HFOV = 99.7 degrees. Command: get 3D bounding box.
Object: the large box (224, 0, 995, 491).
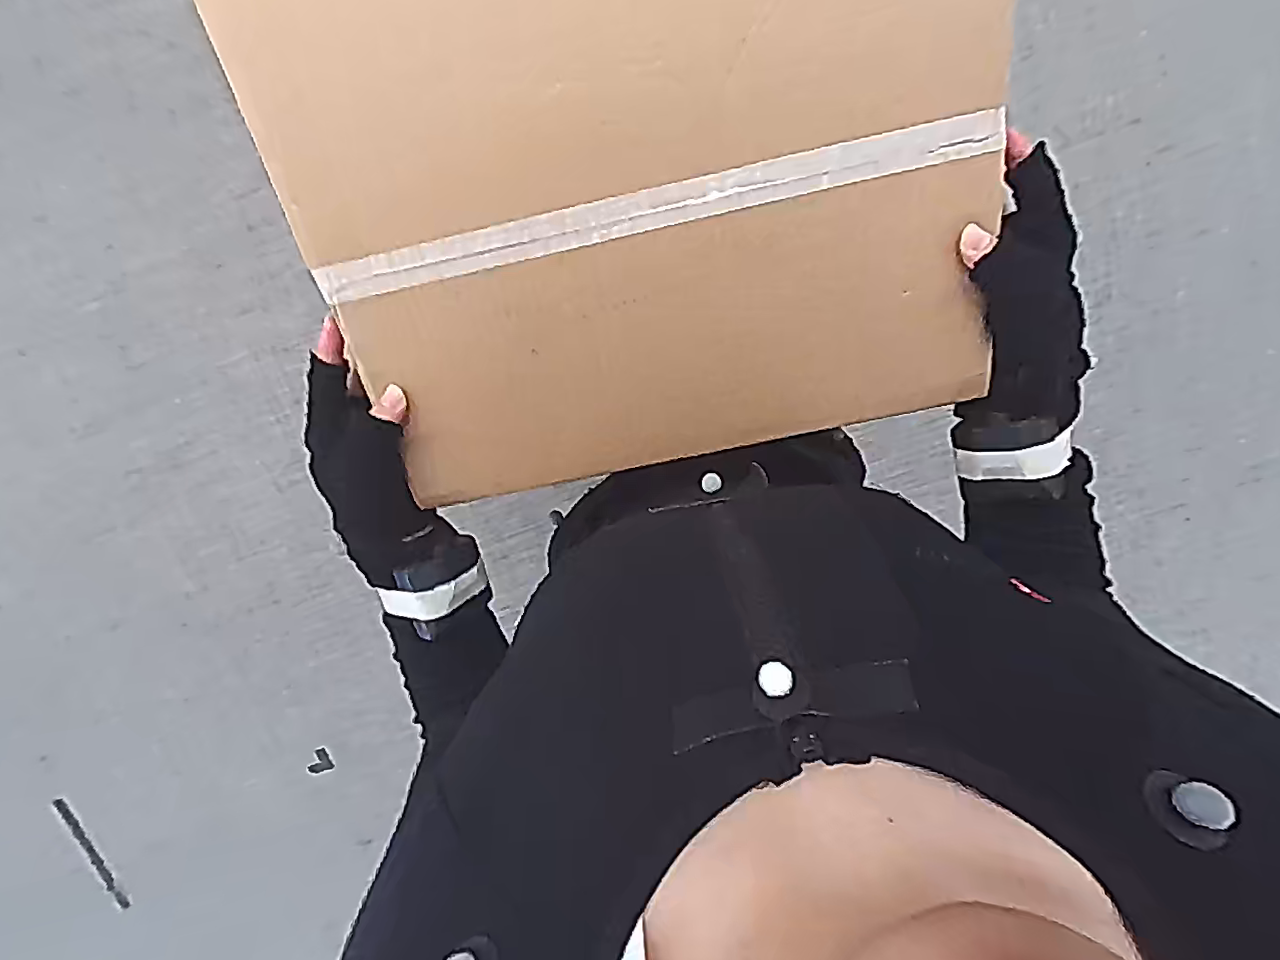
[{"bbox_3d":[0.000,-0.226,0.461,0.408,0.320,0.320,-11,115,3],"label":"large box"}]
